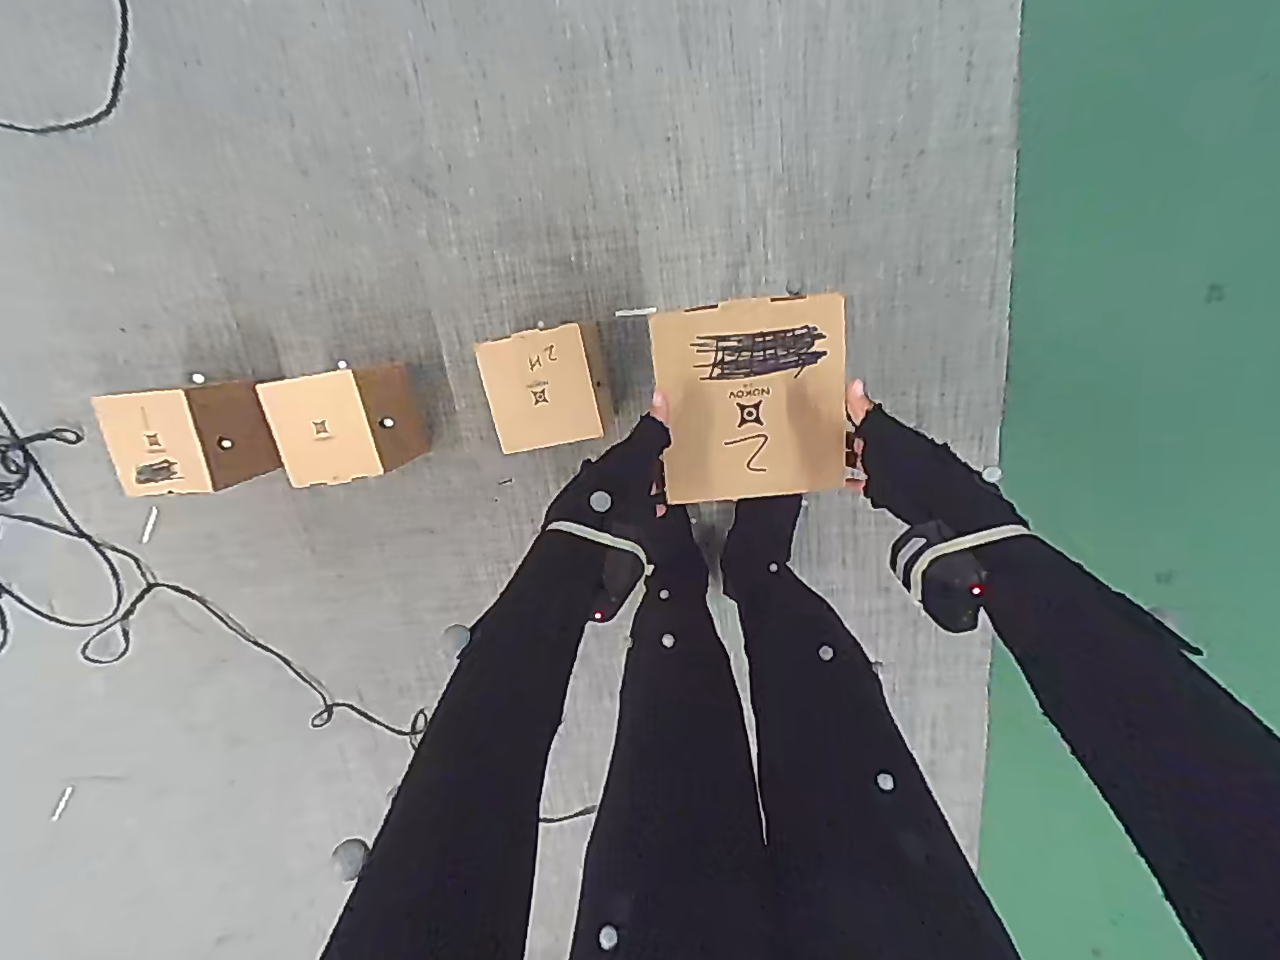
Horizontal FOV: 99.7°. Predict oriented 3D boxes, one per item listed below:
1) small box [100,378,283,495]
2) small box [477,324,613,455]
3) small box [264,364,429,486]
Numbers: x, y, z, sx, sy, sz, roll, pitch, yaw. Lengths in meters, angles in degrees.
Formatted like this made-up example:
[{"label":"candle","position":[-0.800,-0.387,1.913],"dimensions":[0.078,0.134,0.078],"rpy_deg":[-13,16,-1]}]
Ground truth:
[{"label":"small box","position":[-0.789,-0.083,0.975],"dimensions":[0.168,0.176,0.179],"rpy_deg":[-3,106,5]},{"label":"small box","position":[-0.146,-0.158,0.906],"dimensions":[0.168,0.176,0.179],"rpy_deg":[-10,106,6]},{"label":"small box","position":[-0.500,-0.105,0.948],"dimensions":[0.168,0.176,0.179],"rpy_deg":[-8,107,7]}]
